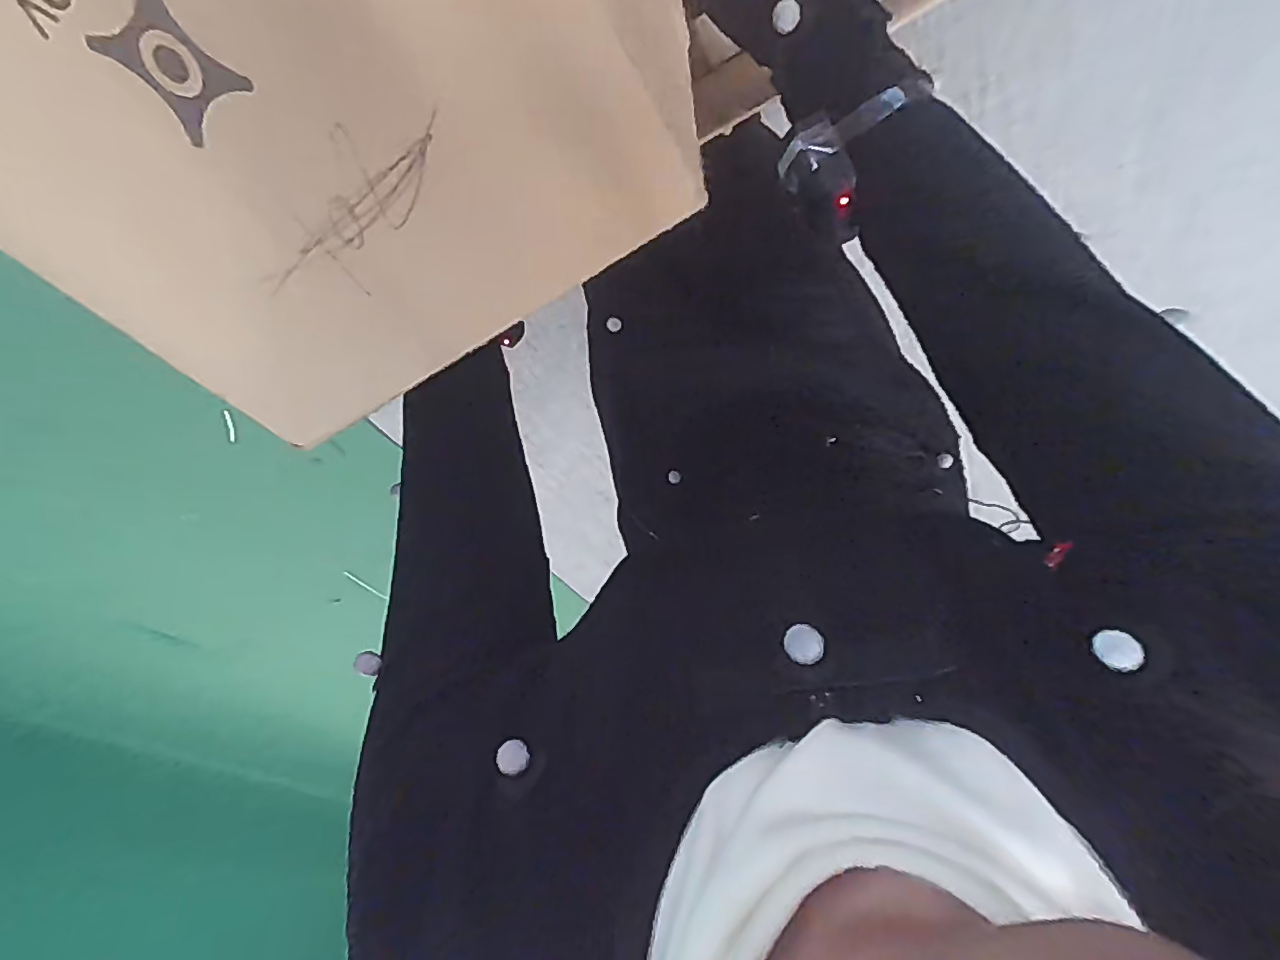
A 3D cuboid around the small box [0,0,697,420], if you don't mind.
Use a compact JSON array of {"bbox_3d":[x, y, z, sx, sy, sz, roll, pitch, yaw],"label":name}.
[{"bbox_3d":[-0.097,-0.157,0.166,0.168,0.176,0.179,-22,134,26],"label":"small box"}]
